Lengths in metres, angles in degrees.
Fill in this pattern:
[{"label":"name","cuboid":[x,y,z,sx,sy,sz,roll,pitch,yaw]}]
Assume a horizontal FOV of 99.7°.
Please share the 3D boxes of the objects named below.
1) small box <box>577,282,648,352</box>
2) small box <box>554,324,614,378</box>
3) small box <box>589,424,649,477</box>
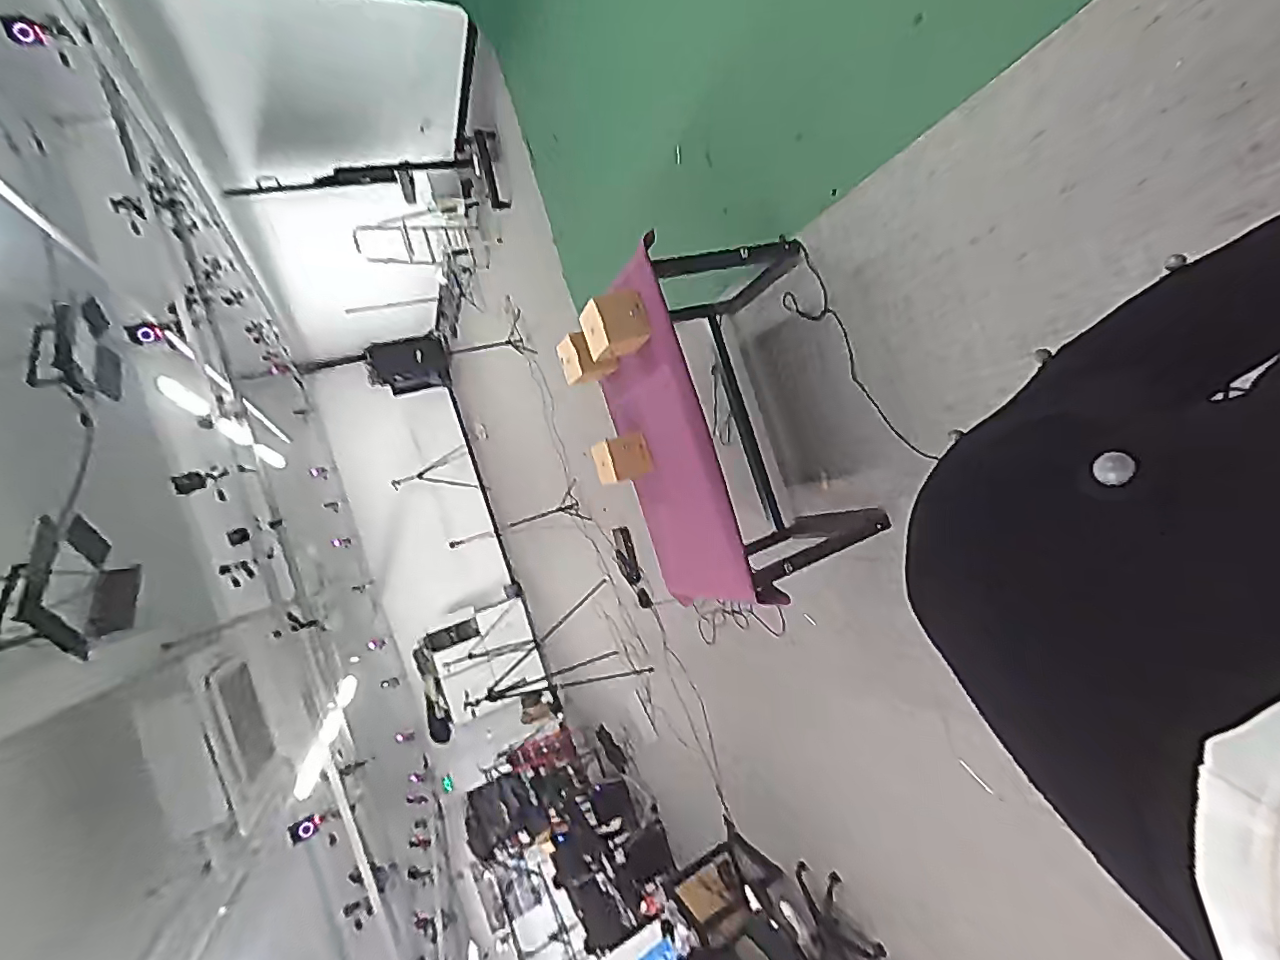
[{"label":"small box","cuboid":[-0.094,-0.560,1.860,0.179,0.176,0.168,-16,94,67]},{"label":"small box","cuboid":[-0.217,-0.521,2.149,0.179,0.176,0.168,-14,95,63]},{"label":"small box","cuboid":[-0.080,-0.117,2.155,0.179,0.176,0.168,-9,98,66]}]
